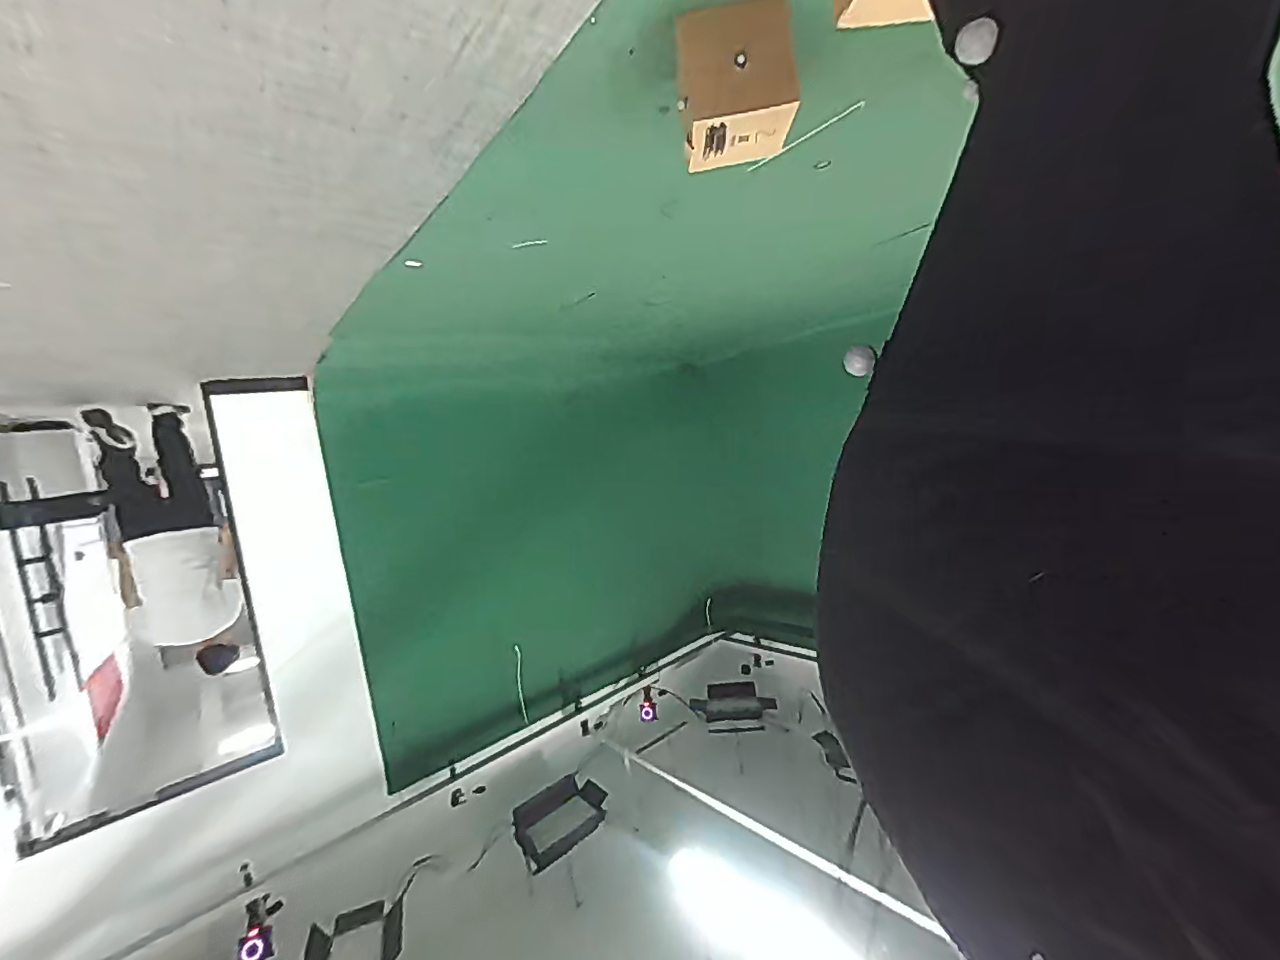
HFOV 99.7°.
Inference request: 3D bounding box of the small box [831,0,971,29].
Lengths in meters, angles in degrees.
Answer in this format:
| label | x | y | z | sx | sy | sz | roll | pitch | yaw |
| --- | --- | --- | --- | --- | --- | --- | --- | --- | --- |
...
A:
| label | x | y | z | sx | sy | sz | roll | pitch | yaw |
| --- | --- | --- | --- | --- | --- | --- | --- | --- | --- |
| small box | 0.335 | -0.679 | 0.629 | 0.179 | 0.176 | 0.168 | -8 | -176 | -5 |
